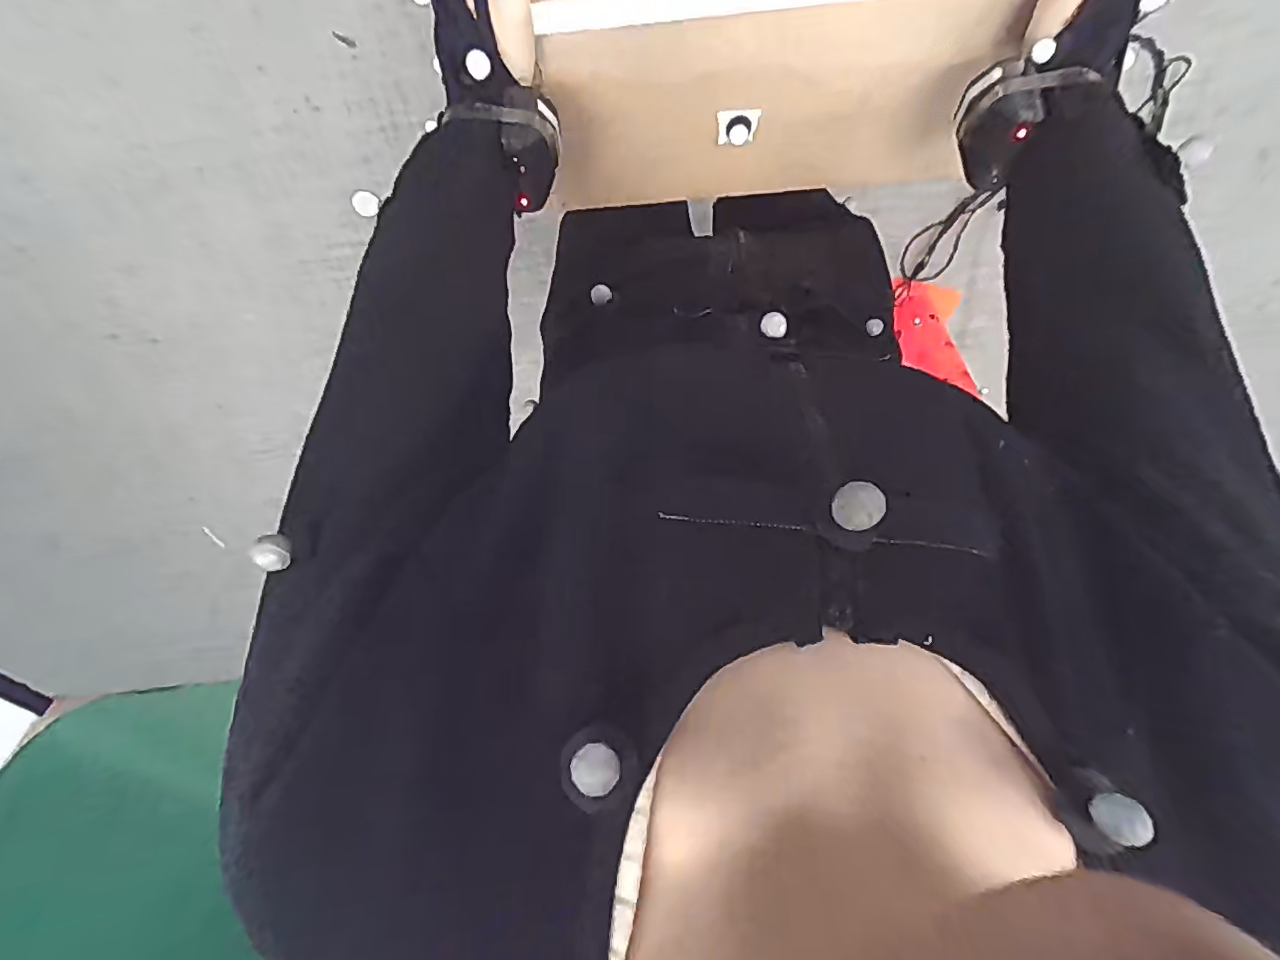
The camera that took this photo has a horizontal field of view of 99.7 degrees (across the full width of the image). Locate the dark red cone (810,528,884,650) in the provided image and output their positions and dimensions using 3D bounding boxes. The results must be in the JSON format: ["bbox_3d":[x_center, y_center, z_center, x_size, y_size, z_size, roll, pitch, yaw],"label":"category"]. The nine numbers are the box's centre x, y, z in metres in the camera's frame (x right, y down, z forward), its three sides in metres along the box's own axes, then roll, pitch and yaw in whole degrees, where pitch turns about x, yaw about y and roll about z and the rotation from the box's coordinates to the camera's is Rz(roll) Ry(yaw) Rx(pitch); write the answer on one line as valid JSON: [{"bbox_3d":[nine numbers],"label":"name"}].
[{"bbox_3d":[0.694,0.358,1.743,0.202,0.394,0.201,-11,135,8],"label":"dark red cone"}]

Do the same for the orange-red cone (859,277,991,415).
[{"bbox_3d":[0.665,-0.266,1.187,0.199,0.360,0.198,8,133,-12],"label":"orange-red cone"}]
